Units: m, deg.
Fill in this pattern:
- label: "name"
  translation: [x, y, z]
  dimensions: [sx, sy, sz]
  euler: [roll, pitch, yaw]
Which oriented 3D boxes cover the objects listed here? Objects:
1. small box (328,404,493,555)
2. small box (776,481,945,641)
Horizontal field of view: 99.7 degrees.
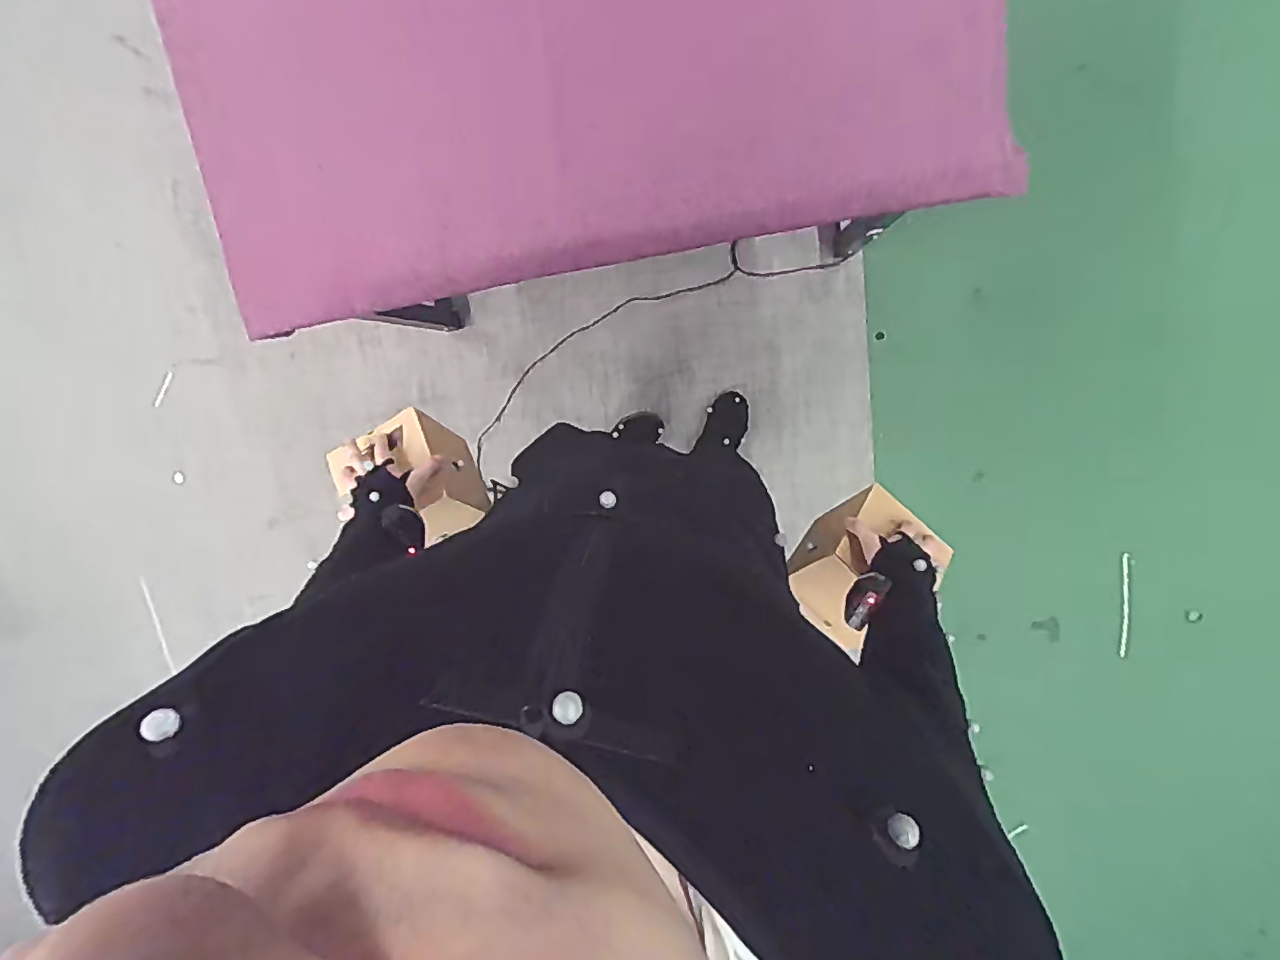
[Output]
- label: "small box"
  translation: [-0.379, 0.008, 0.912]
  dimensions: [0.168, 0.176, 0.179]
  euler: [-29, 72, 3]
- label: "small box"
  translation: [0.353, 0.140, 0.892]
  dimensions: [0.168, 0.179, 0.176]
  euler: [43, 147, 3]
